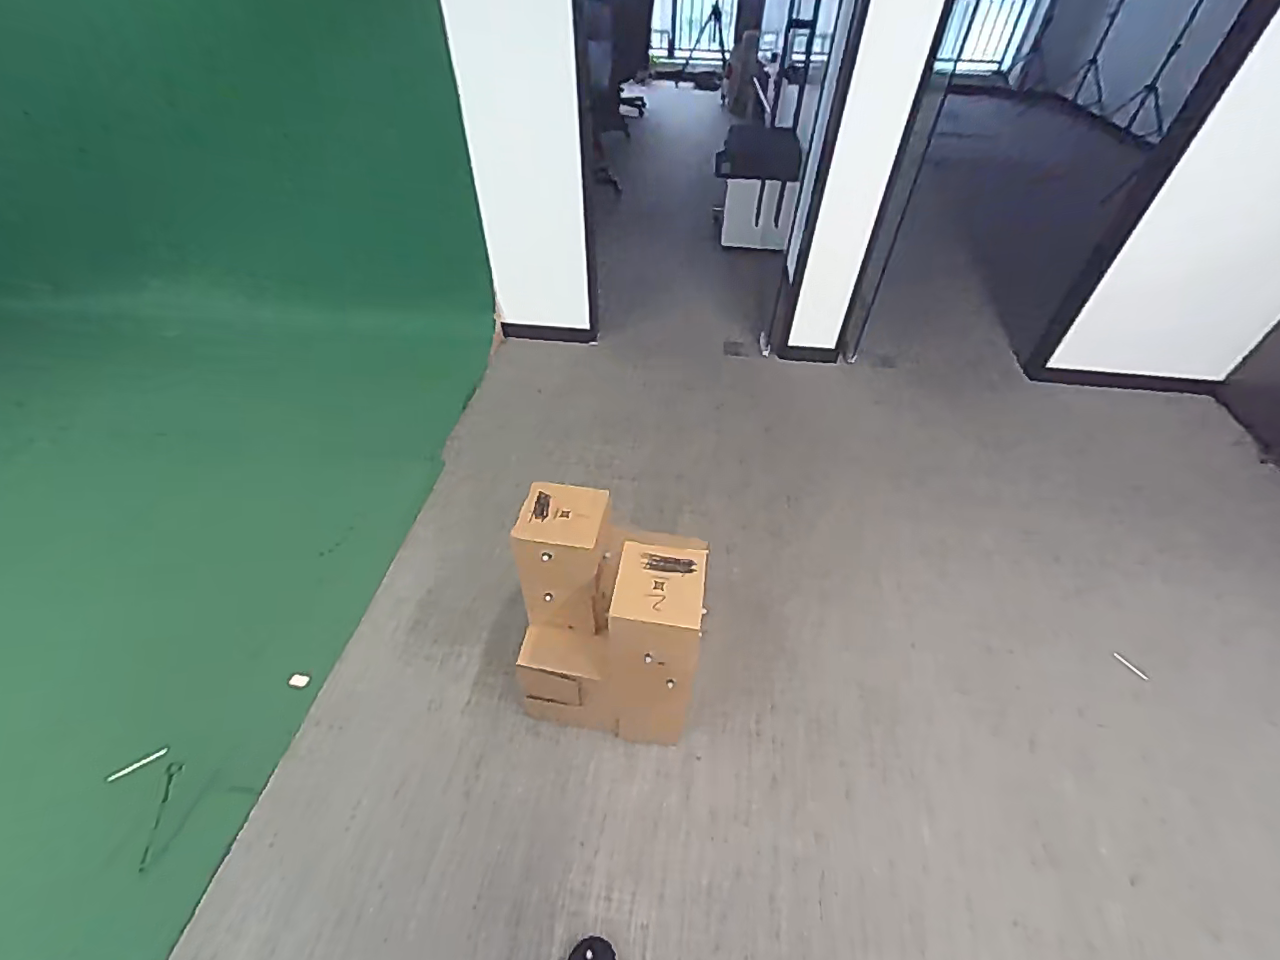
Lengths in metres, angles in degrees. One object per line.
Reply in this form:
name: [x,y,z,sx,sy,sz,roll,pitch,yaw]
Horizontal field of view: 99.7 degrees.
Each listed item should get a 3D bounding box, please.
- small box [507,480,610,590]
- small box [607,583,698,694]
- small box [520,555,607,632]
small box: [-0.168,0.121,1.181,0.179,0.176,0.168,6,45,6]
small box: [0.028,0.353,1.190,0.179,0.176,0.168,6,45,4]
small box: [-0.176,0.236,1.301,0.168,0.176,0.179,7,44,6]
